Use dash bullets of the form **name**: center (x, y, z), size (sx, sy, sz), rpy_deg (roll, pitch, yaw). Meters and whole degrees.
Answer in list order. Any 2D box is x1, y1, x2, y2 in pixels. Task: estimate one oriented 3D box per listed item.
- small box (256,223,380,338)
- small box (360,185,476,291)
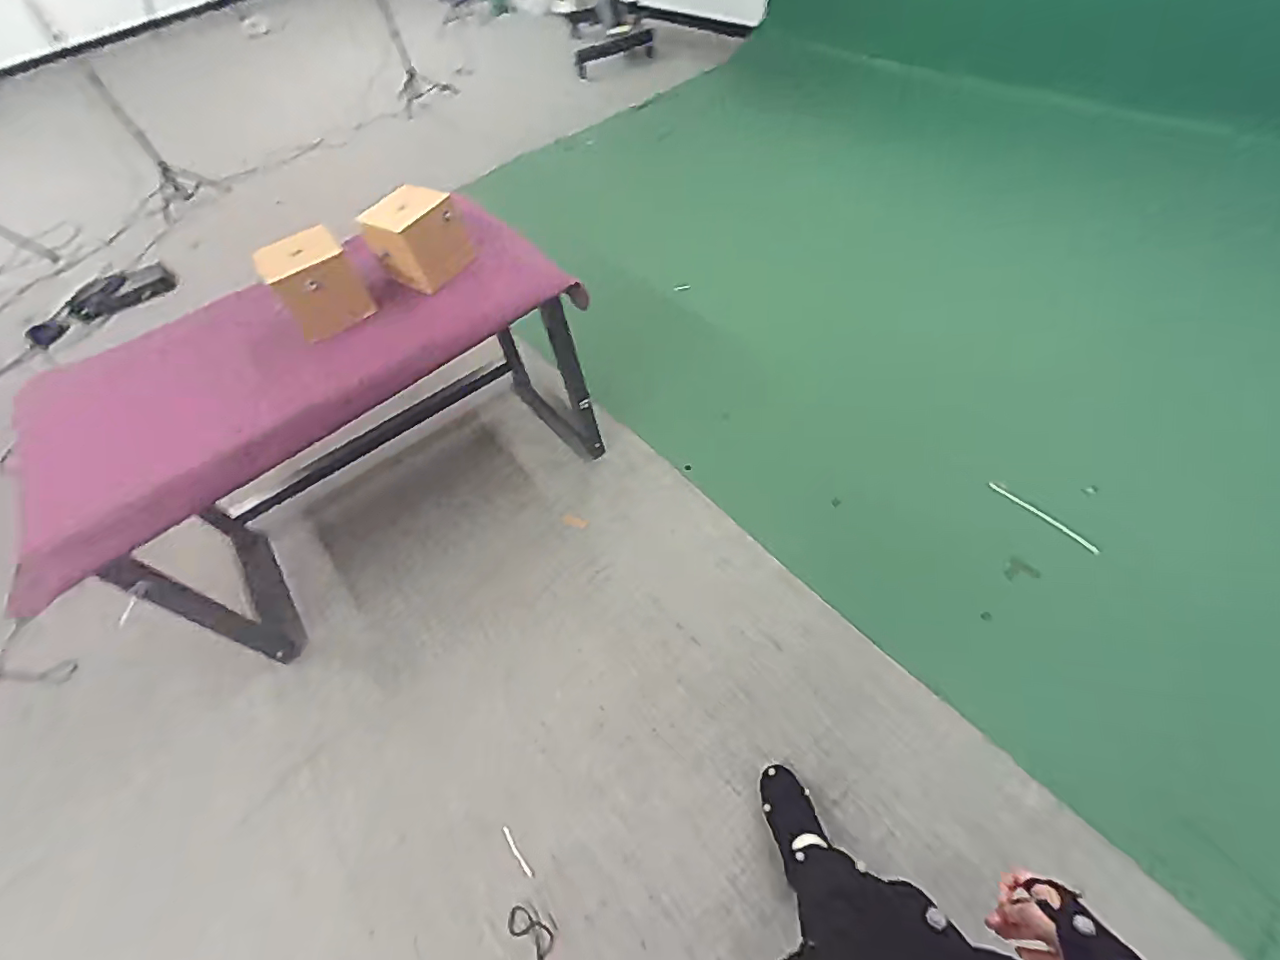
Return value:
- **small box**: center (-0.755, -0.468, 1.278), size (0.179, 0.176, 0.168), rpy_deg (-31, 57, -15)
- **small box**: center (-0.540, -0.598, 1.344), size (0.168, 0.176, 0.179), rpy_deg (24, 60, 24)
